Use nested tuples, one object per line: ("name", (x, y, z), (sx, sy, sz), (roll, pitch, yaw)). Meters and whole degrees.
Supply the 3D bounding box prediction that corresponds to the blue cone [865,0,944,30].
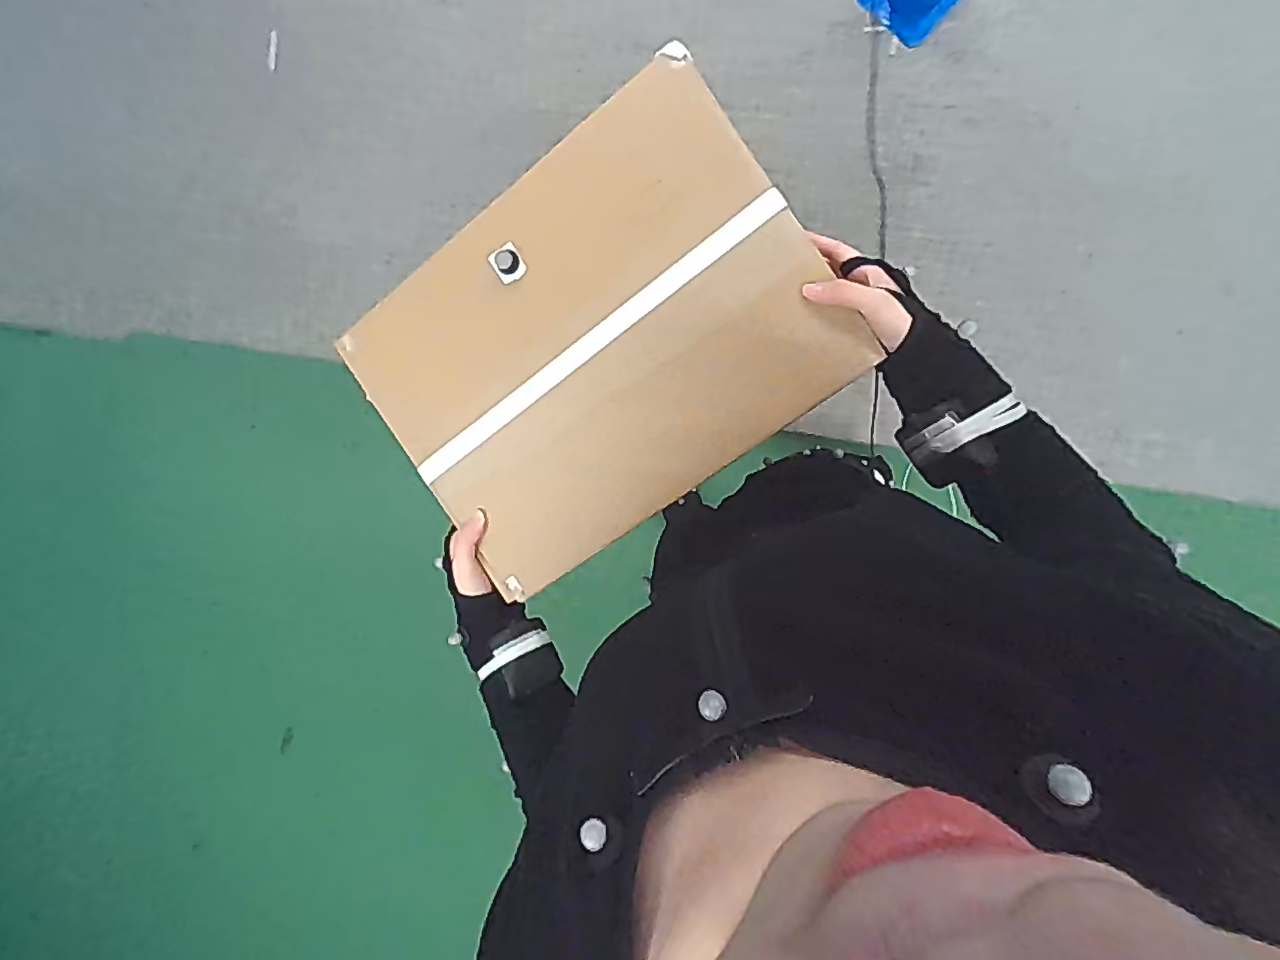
("blue cone", (0.609, -1.164, 1.108), (0.192, 0.380, 0.193), (42, 102, 4))
